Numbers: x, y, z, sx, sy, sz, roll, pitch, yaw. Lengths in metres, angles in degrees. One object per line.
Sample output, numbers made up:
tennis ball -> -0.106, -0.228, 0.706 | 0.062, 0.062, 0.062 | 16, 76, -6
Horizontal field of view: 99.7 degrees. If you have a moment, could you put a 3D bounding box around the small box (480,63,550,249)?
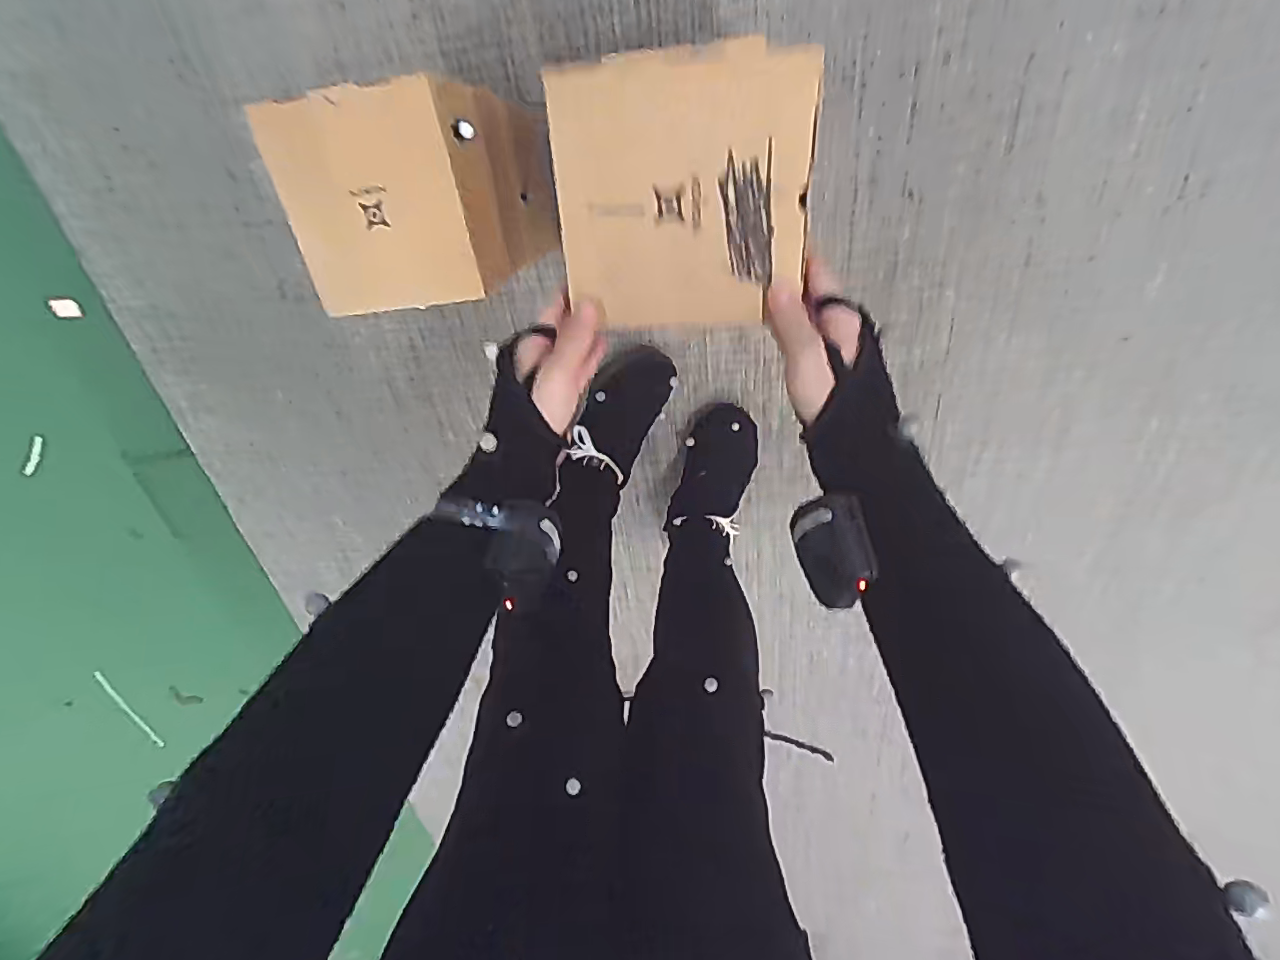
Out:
small box -> -0.216, -0.385, 0.657 | 0.168, 0.176, 0.179 | -1, 122, 6

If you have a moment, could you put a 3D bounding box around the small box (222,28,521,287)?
small box -> -0.228, -0.299, 0.519 | 0.168, 0.176, 0.179 | -2, 121, 9

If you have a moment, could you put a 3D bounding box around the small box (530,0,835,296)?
small box -> 0.033, -0.245, 0.413 | 0.179, 0.176, 0.168 | 2, 122, 7
